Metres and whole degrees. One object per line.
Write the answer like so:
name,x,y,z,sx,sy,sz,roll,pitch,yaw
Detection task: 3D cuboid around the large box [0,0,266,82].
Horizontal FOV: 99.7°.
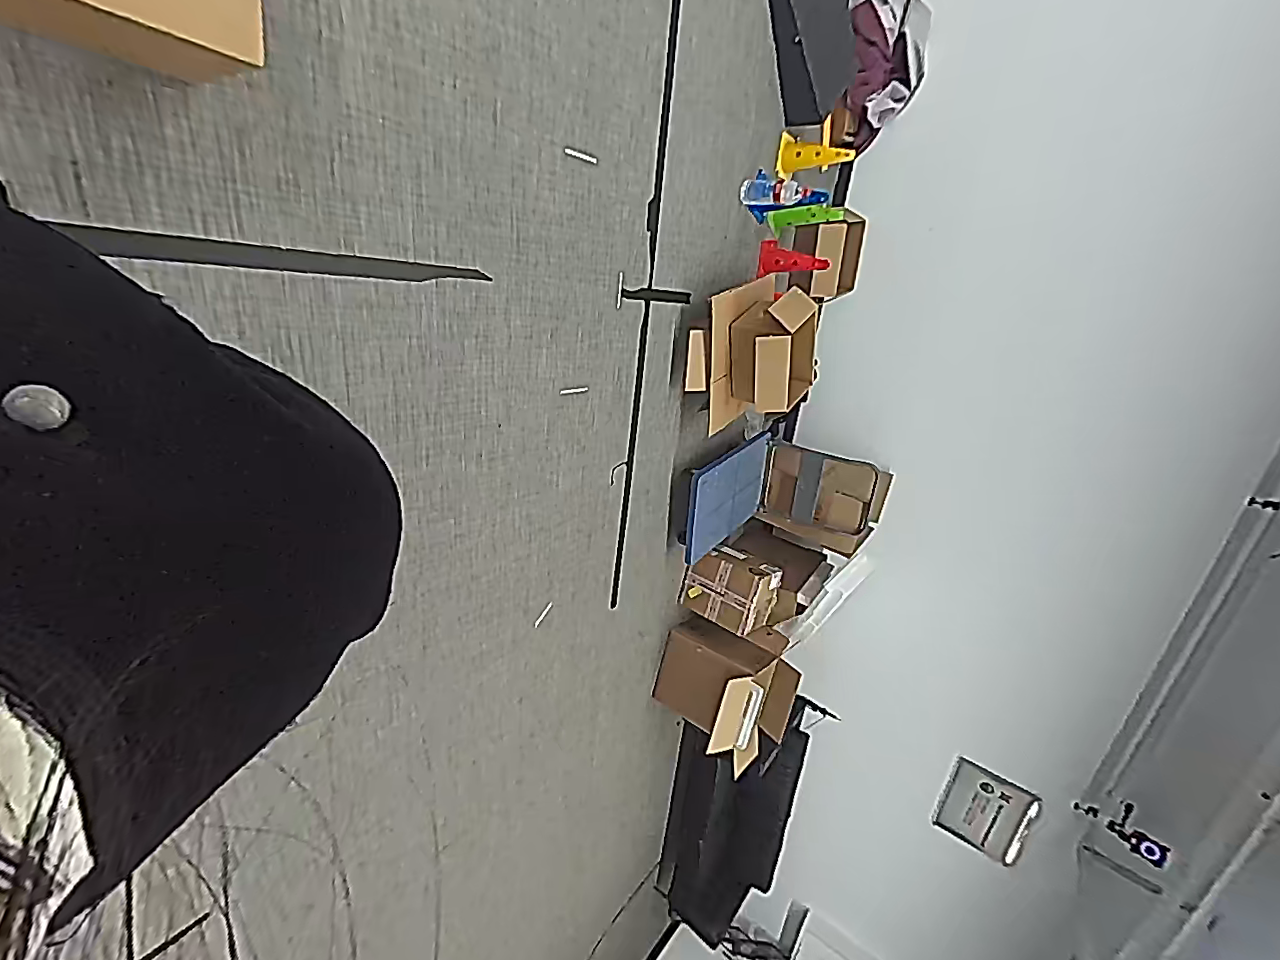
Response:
large box,-0.831,-0.826,0.760,0.408,0.320,0.320,-17,122,-52
